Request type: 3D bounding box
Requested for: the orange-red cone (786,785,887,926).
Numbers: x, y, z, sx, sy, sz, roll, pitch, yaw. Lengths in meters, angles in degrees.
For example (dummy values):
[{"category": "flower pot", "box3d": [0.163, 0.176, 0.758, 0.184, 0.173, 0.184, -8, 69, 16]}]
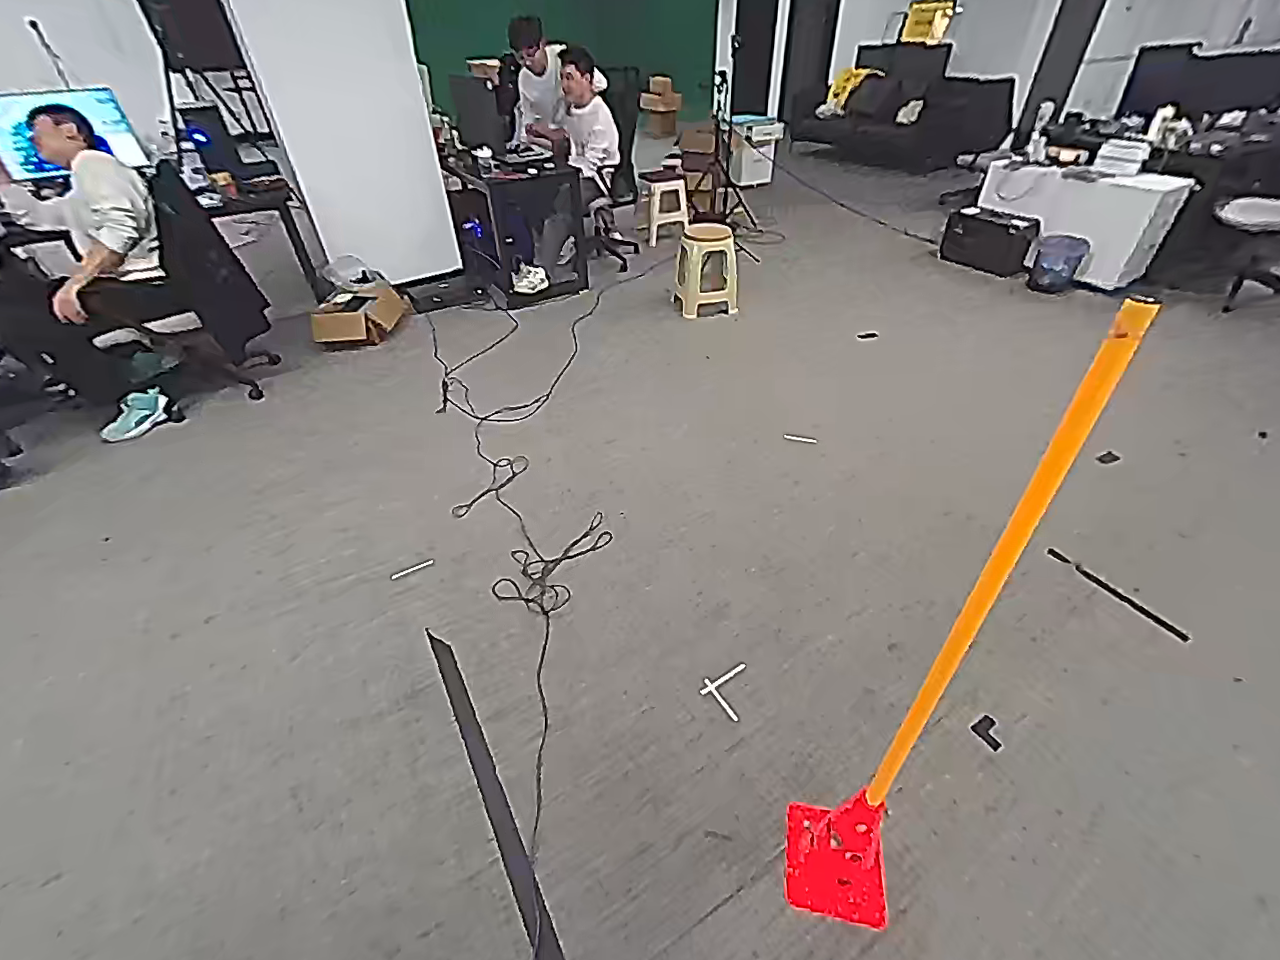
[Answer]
[{"category": "orange-red cone", "box3d": [0.407, 0.675, 1.037, 0.198, 0.360, 0.199, 7, 42, 13]}]
